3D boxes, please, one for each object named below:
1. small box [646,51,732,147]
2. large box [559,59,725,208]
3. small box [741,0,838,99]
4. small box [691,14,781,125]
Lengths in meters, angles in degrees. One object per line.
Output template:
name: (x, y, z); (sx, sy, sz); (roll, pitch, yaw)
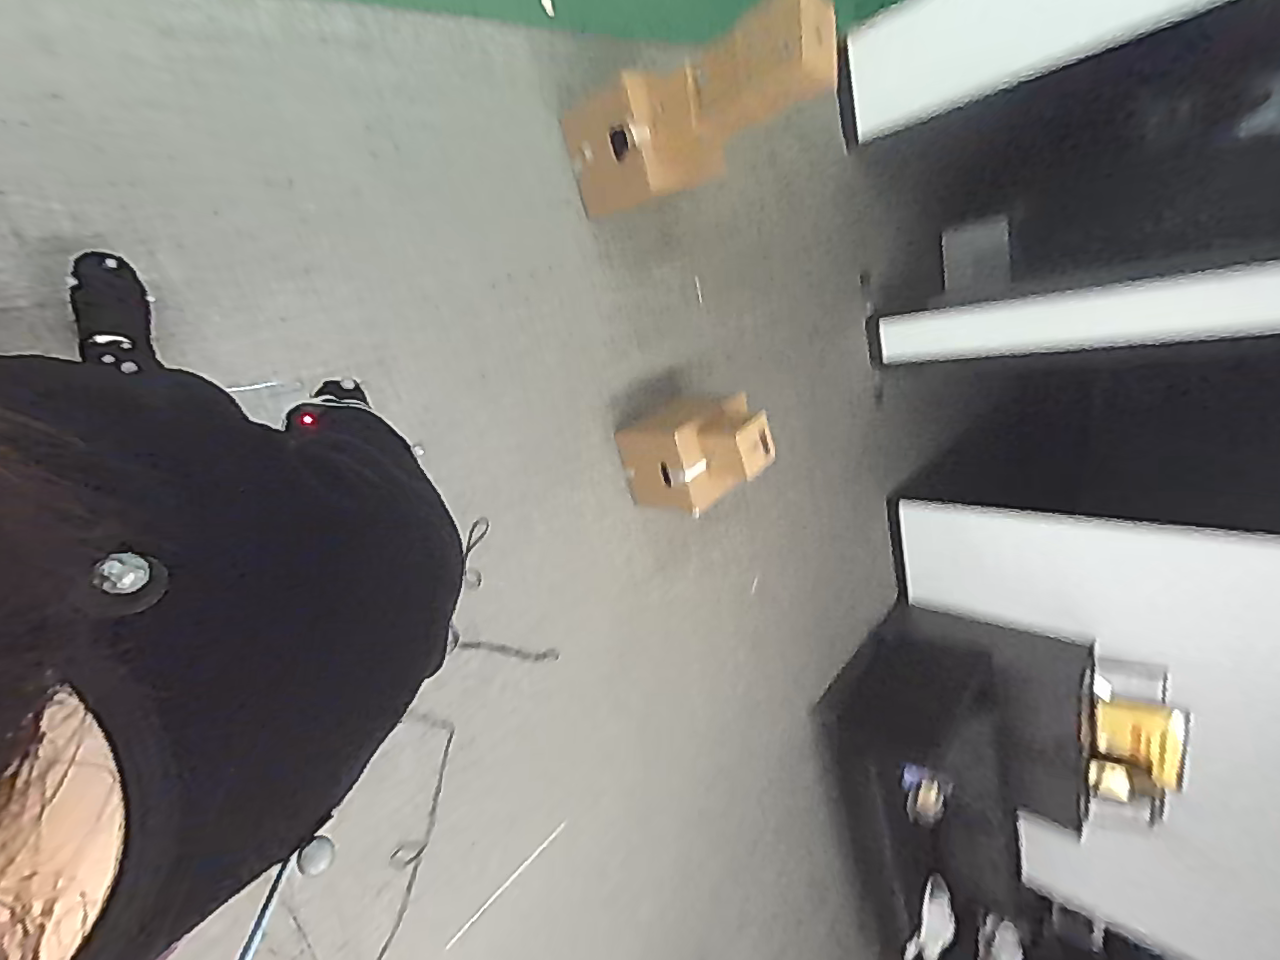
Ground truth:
small box: (0.142, -1.088, 1.562); (0.179, 0.176, 0.168); (-20, 108, -39)
large box: (0.013, -1.127, 1.770); (0.408, 0.320, 0.320); (-34, 117, -36)
small box: (0.364, -1.076, 1.322); (0.168, 0.176, 0.179); (-15, 104, -41)
small box: (0.257, -1.083, 1.447); (0.179, 0.176, 0.168); (-16, 105, -40)
